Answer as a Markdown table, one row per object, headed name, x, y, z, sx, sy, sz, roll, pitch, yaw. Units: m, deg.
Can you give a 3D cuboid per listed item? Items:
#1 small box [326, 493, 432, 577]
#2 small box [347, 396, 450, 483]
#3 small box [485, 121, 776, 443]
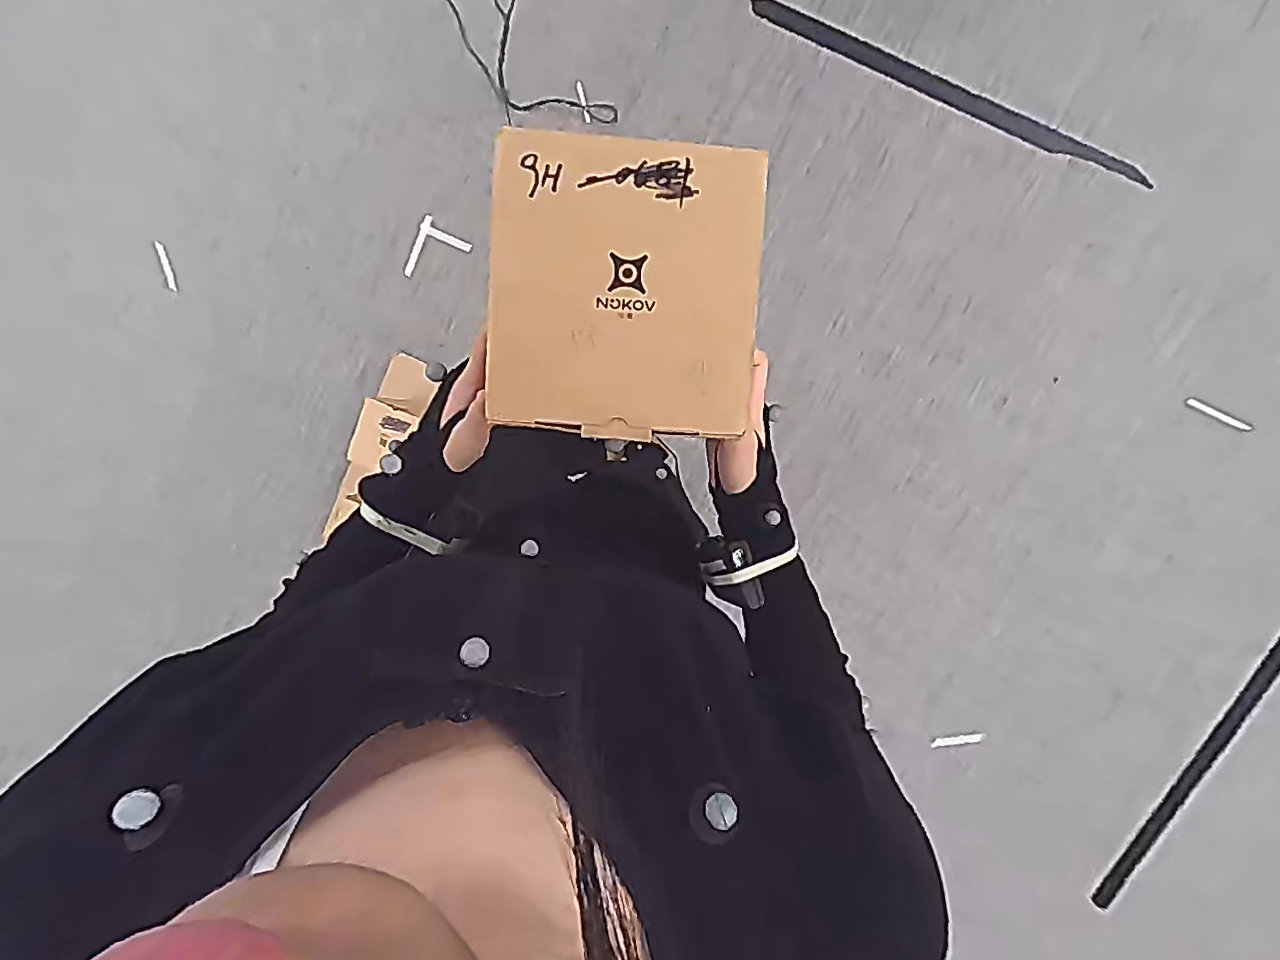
| name | x | y | z | sx | sy | sz | roll | pitch | yaw |
| --- | --- | --- | --- | --- | --- | --- | --- | --- | --- |
| small box | -0.706 | 0.140 | 1.477 | 0.179 | 0.176 | 0.168 | 21 | 98 | 4 |
| small box | -0.635 | -0.109 | 1.446 | 0.168 | 0.176 | 0.179 | 23 | 97 | 4 |
| small box | -0.011 | -0.123 | 0.402 | 0.168 | 0.176 | 0.179 | 4 | 95 | -4 |
